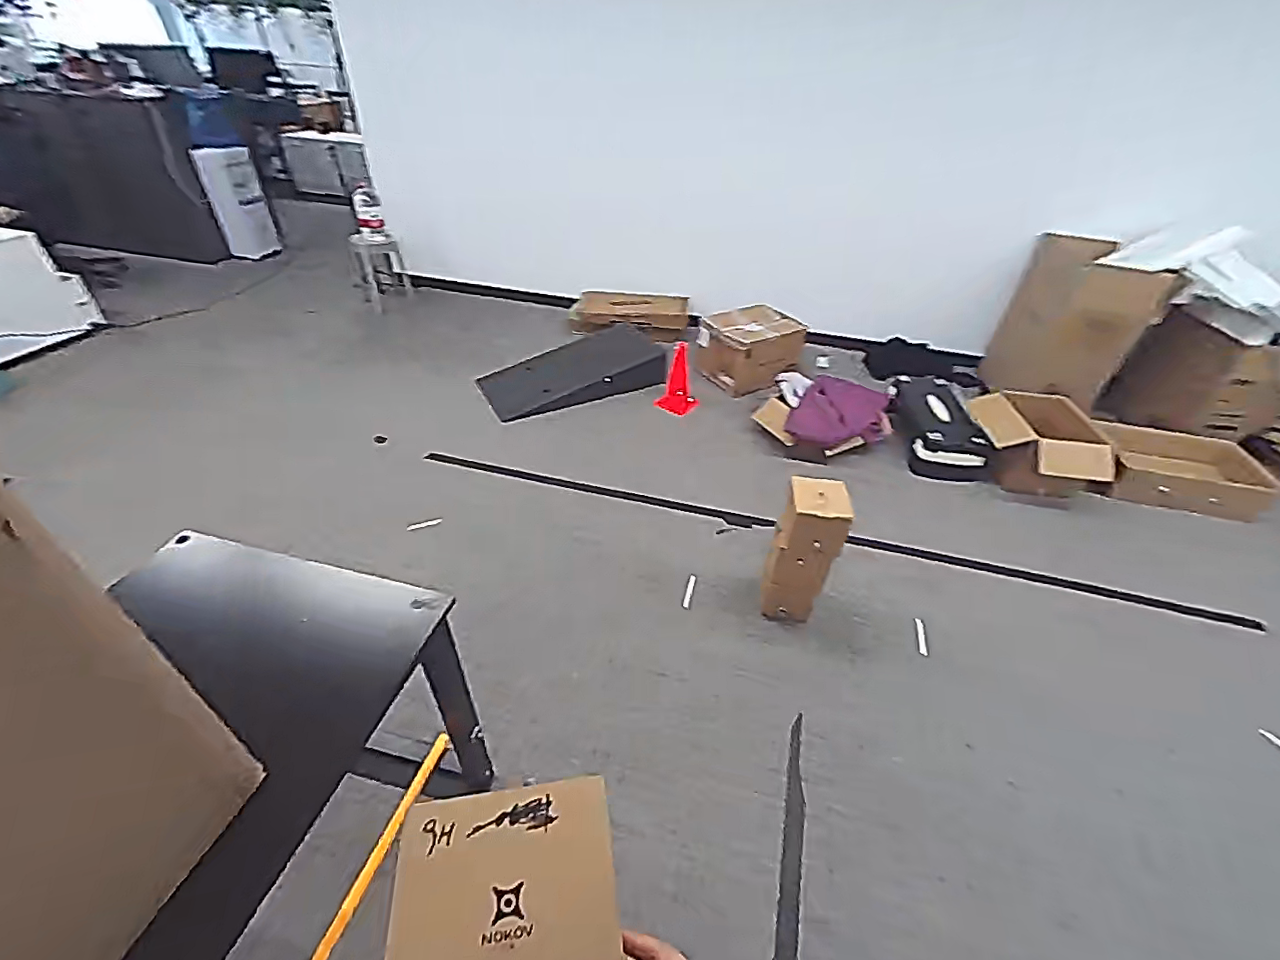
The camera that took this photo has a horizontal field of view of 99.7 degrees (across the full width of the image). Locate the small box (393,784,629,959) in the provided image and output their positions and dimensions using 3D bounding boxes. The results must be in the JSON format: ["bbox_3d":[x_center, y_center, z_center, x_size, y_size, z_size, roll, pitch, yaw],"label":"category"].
[{"bbox_3d":[-0.093,0.379,0.440,0.168,0.176,0.179,-4,43,-8],"label":"small box"}]

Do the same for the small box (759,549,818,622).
[{"bbox_3d":[0.513,0.369,1.889,0.168,0.176,0.179,6,40,5],"label":"small box"}]

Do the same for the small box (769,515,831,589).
[{"bbox_3d":[0.524,0.240,1.788,0.179,0.176,0.168,8,39,7],"label":"small box"}]

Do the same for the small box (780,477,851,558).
[{"bbox_3d":[0.537,0.115,1.680,0.168,0.176,0.179,5,39,4],"label":"small box"}]
